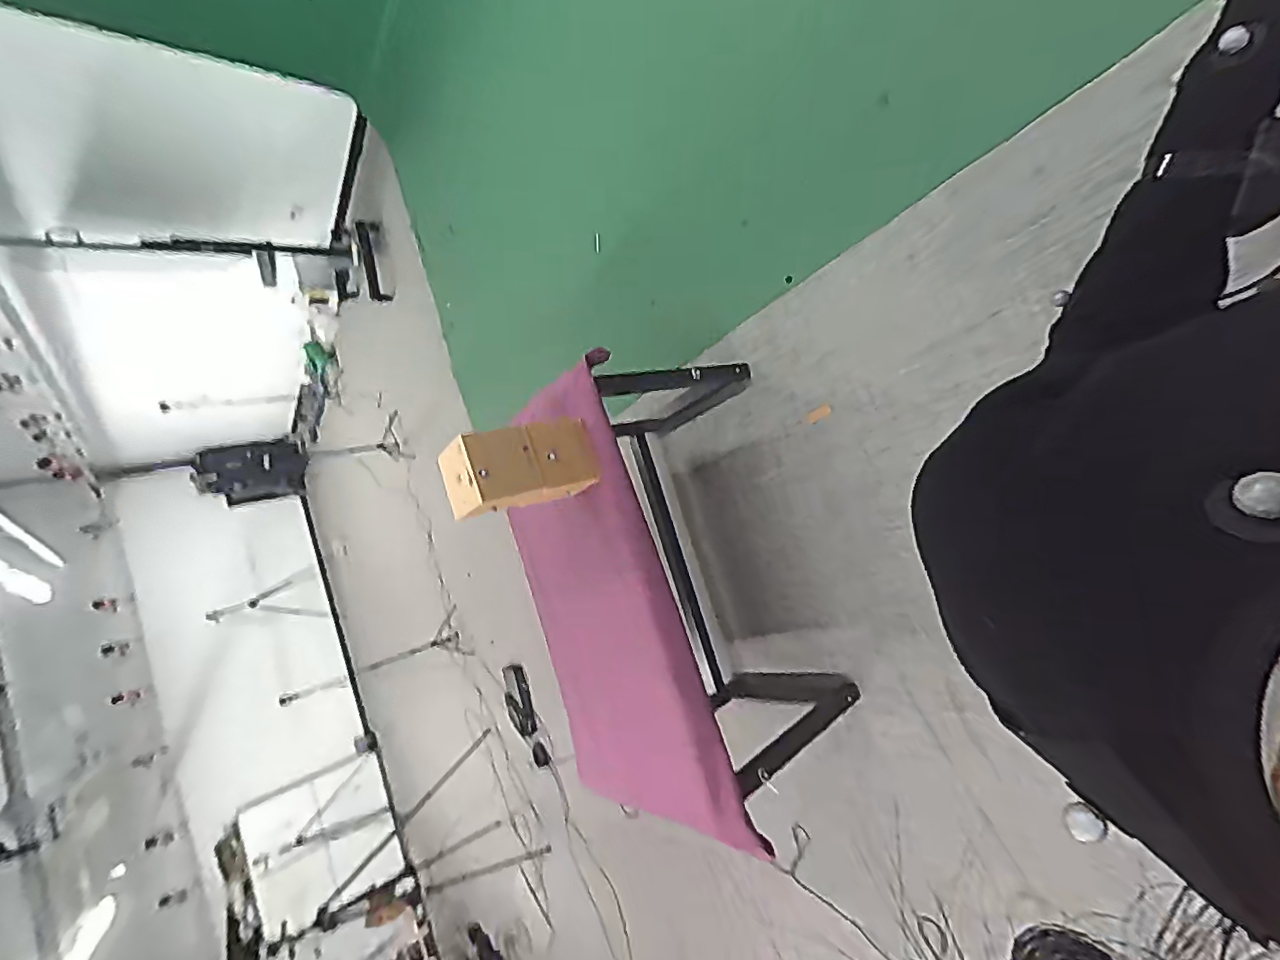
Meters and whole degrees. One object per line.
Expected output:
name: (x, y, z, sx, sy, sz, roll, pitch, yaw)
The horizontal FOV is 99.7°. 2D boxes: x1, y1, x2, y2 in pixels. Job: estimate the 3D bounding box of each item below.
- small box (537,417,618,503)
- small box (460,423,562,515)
small box: (-0.188, -0.057, 1.422, 0.168, 0.176, 0.179, -28, 80, 51)
small box: (-0.315, -0.027, 1.323, 0.179, 0.176, 0.168, -27, 82, 51)
